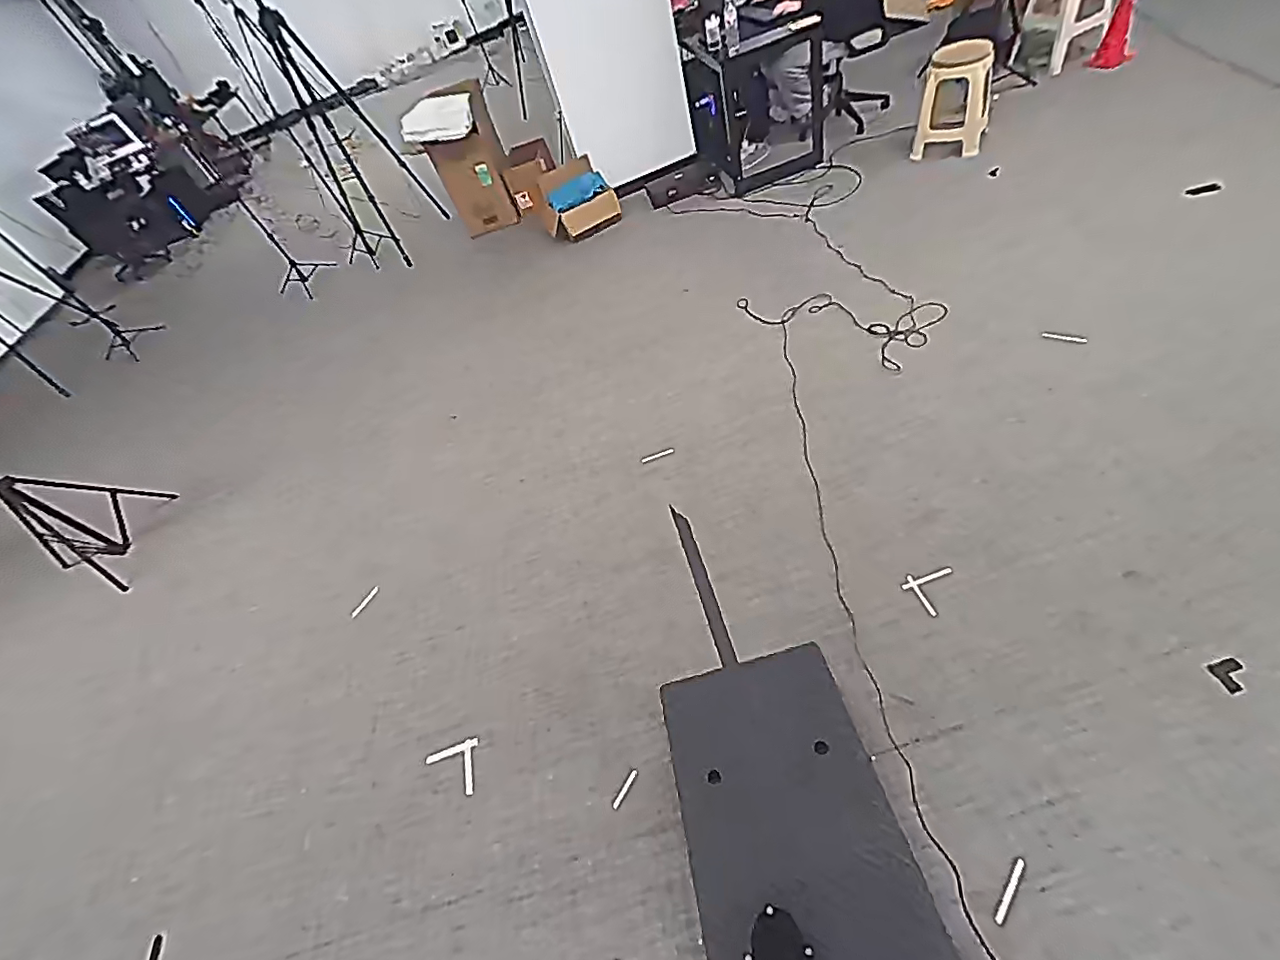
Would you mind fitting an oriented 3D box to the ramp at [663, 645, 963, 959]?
[{"bbox_3d":[0.358,0.862,1.225,0.509,0.206,0.991,-20,47,4],"label":"ramp"}]
